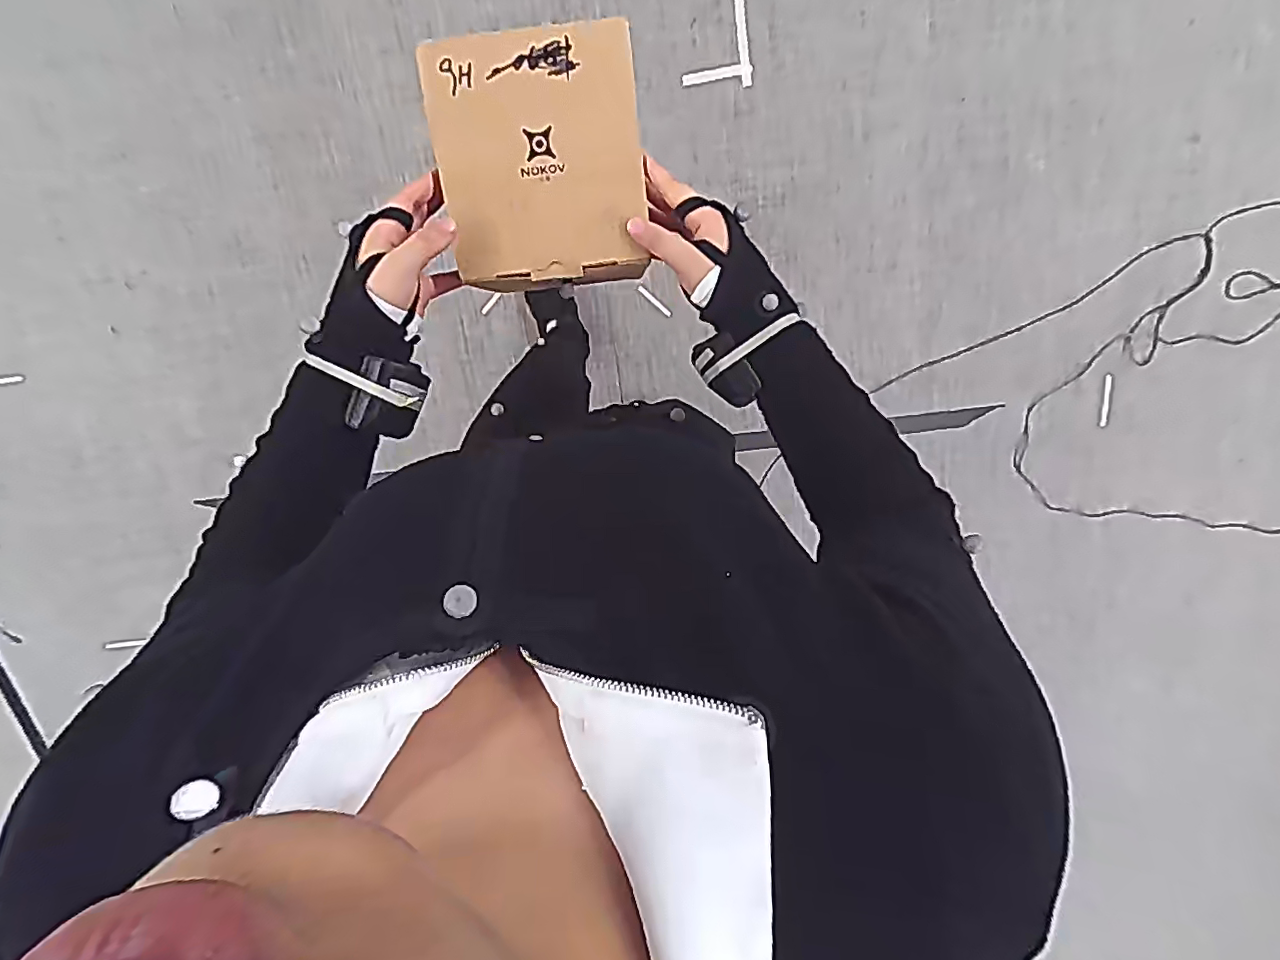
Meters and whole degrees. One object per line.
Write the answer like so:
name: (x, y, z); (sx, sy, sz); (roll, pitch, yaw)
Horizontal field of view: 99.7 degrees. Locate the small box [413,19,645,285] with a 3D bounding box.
small box: (-0.086, -0.283, 0.512); (0.168, 0.176, 0.179); (-7, 107, 0)
